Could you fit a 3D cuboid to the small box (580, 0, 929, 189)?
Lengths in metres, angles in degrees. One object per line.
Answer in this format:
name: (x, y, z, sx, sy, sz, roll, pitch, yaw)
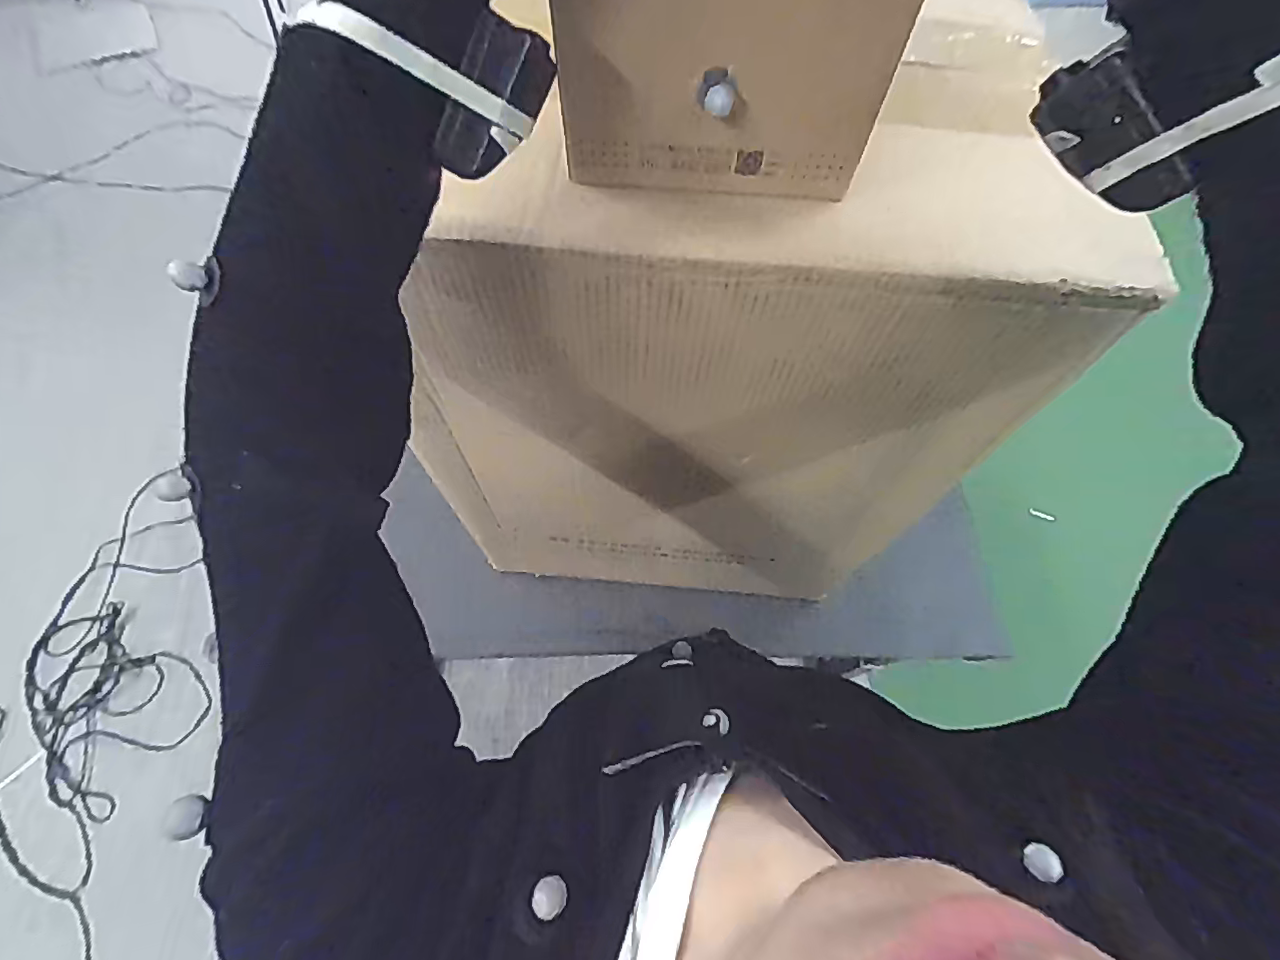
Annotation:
small box: (0.057, -0.294, 0.291, 0.168, 0.176, 0.179, 4, 65, 1)
